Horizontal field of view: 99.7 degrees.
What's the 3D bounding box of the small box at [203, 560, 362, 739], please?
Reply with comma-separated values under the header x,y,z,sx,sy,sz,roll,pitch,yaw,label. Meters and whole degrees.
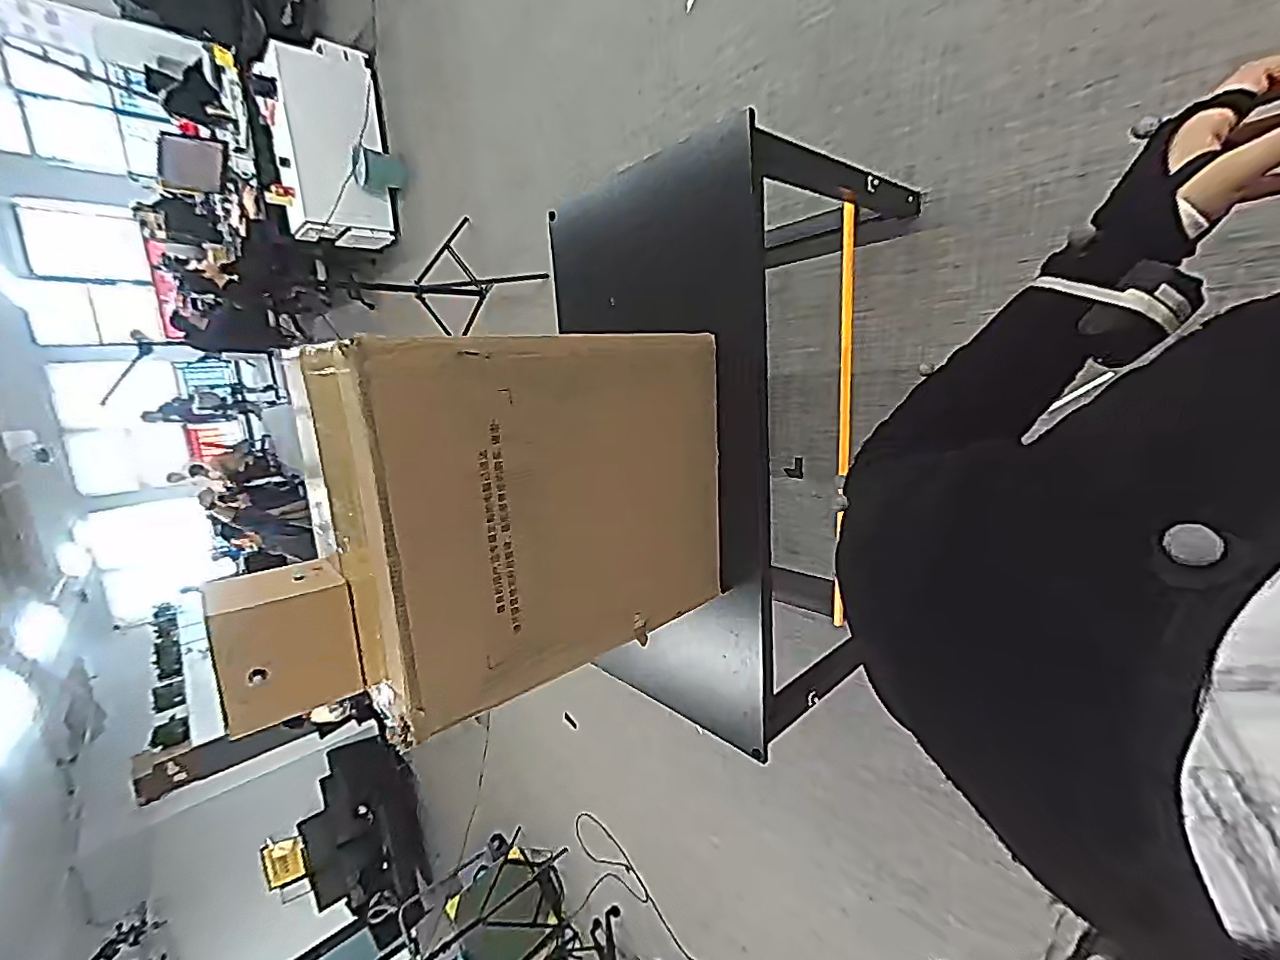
x,y,z,sx,sy,sz,roll,pitch,yaw,label
-0.528,0.237,0.805,0.168,0.176,0.179,10,106,49,small box
